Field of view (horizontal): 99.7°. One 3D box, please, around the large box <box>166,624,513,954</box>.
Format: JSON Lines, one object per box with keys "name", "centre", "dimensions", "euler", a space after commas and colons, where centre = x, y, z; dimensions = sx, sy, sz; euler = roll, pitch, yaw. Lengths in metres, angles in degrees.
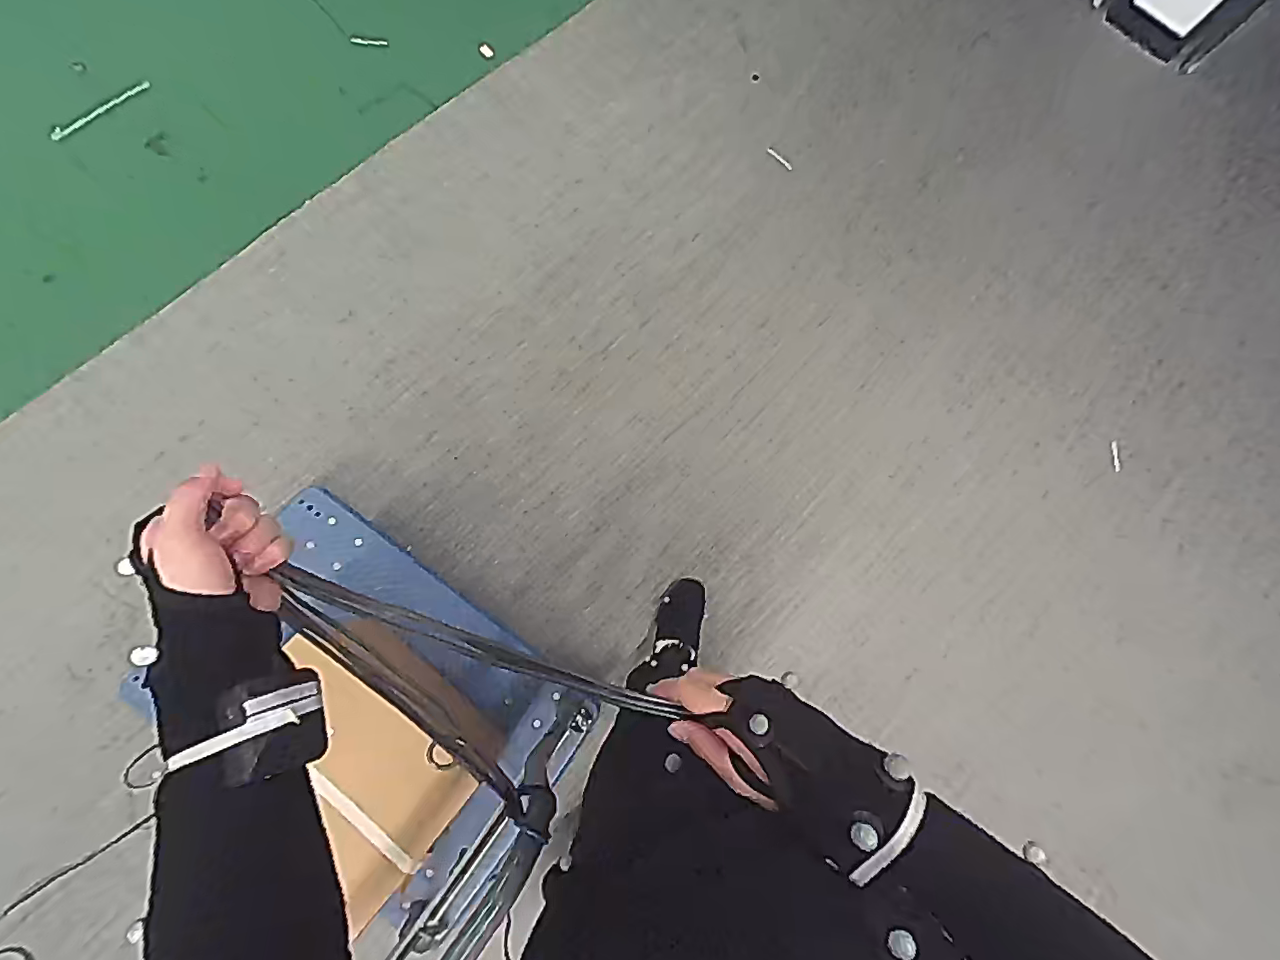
{"name": "large box", "centre": [-0.507, 0.518, 1.007], "dimensions": [0.408, 0.320, 0.320], "euler": [39, 77, 5]}
